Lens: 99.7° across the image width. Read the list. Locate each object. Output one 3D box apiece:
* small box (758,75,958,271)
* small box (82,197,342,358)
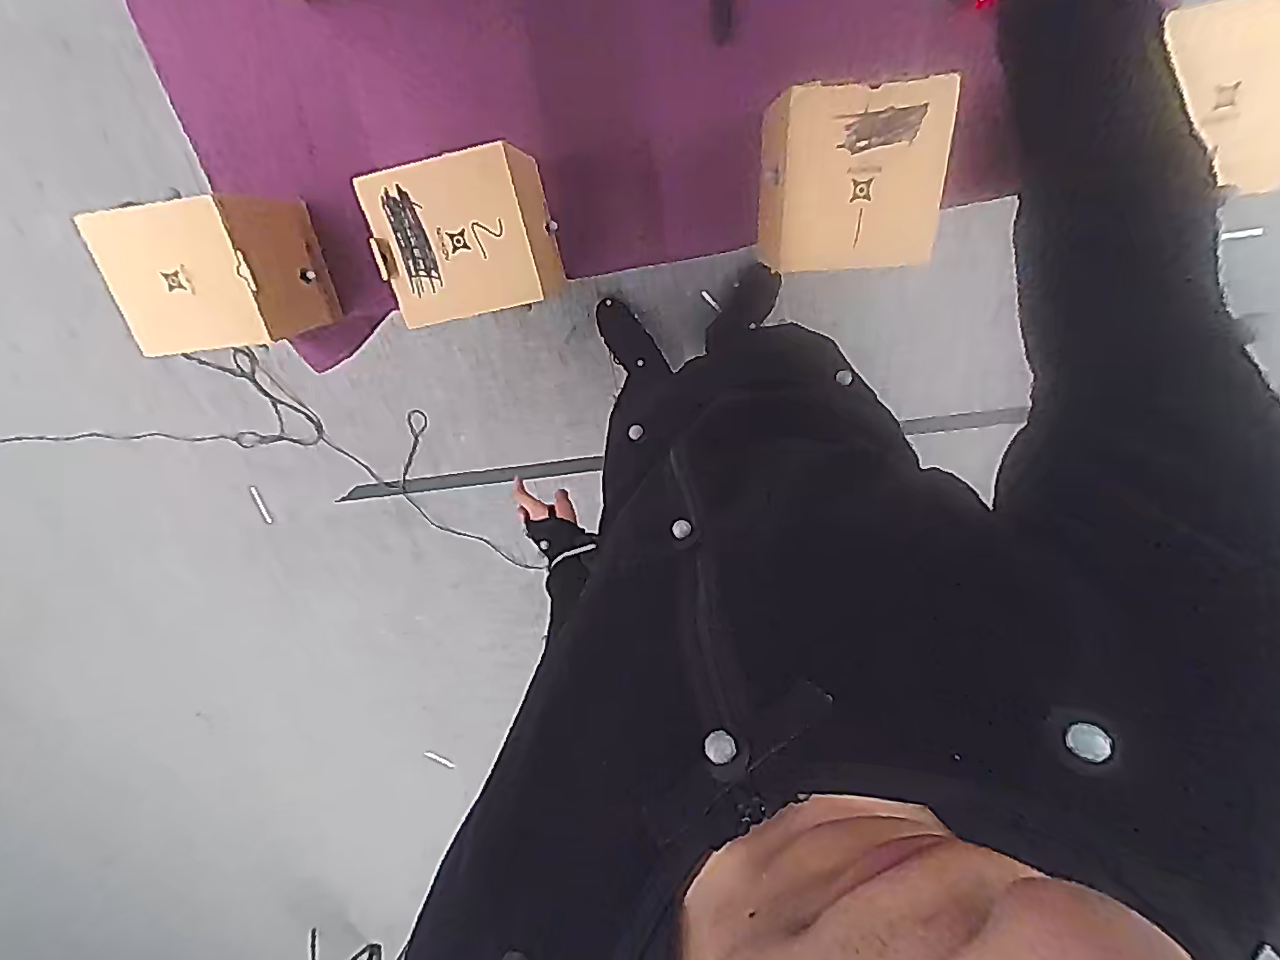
[{"bbox_3d":[0.235,-0.349,0.636,0.168,0.176,0.179,-1,117,4],"label":"small box"},{"bbox_3d":[-0.541,-0.267,0.714,0.179,0.176,0.168,-6,115,4],"label":"small box"}]
